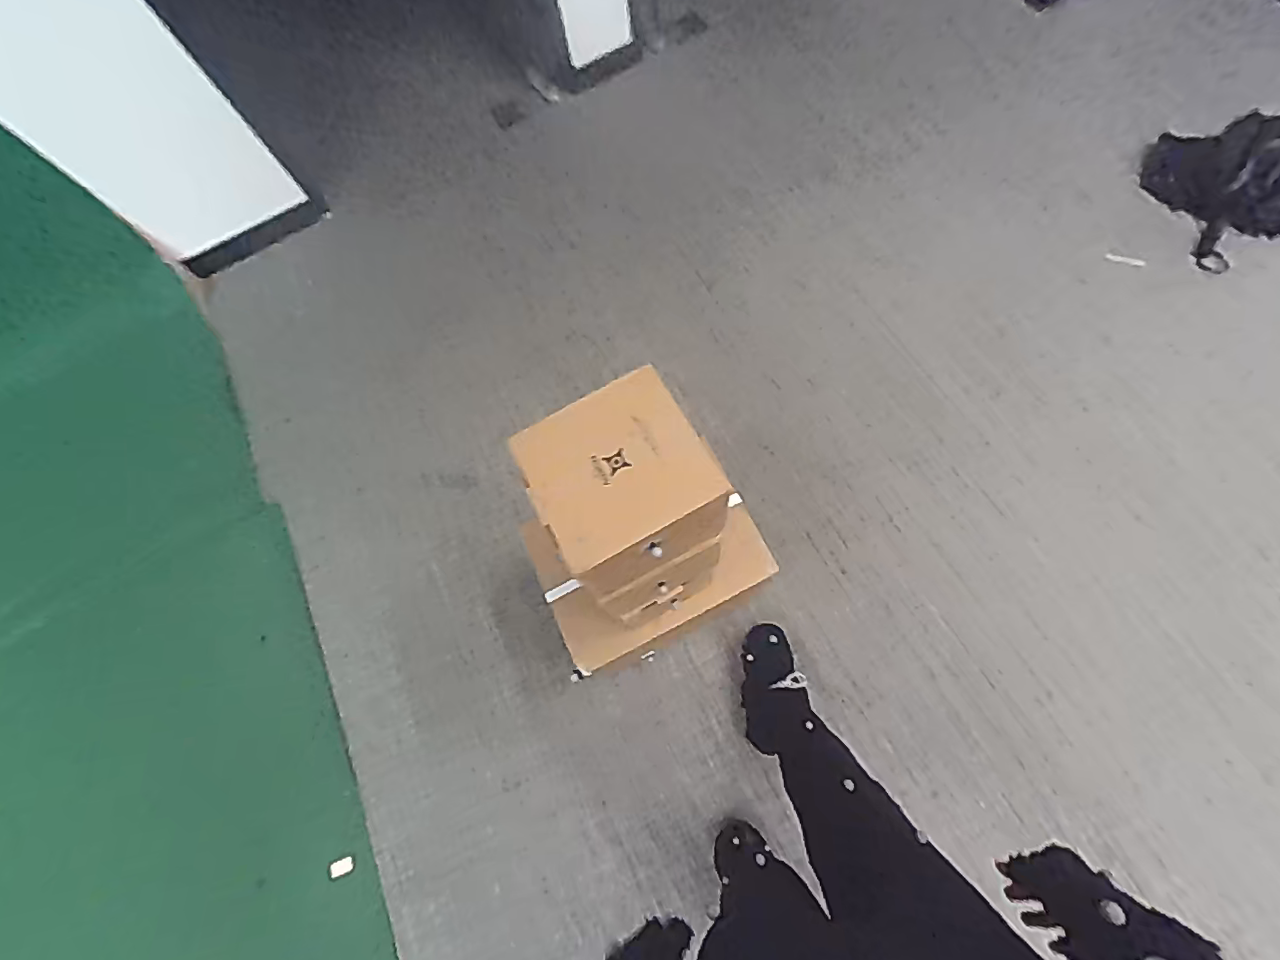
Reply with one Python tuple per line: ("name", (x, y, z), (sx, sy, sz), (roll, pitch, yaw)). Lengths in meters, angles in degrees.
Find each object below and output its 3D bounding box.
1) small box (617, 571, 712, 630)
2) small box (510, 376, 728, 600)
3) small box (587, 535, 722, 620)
("small box", (0.010, 0.140, 0.921), (0.168, 0.176, 0.179), (-31, 71, -4))
("small box", (-0.017, 0.021, 0.618), (0.179, 0.176, 0.168), (-29, 71, -5))
("small box", (-0.001, 0.083, 0.767), (0.179, 0.176, 0.168), (-28, 70, -2))
